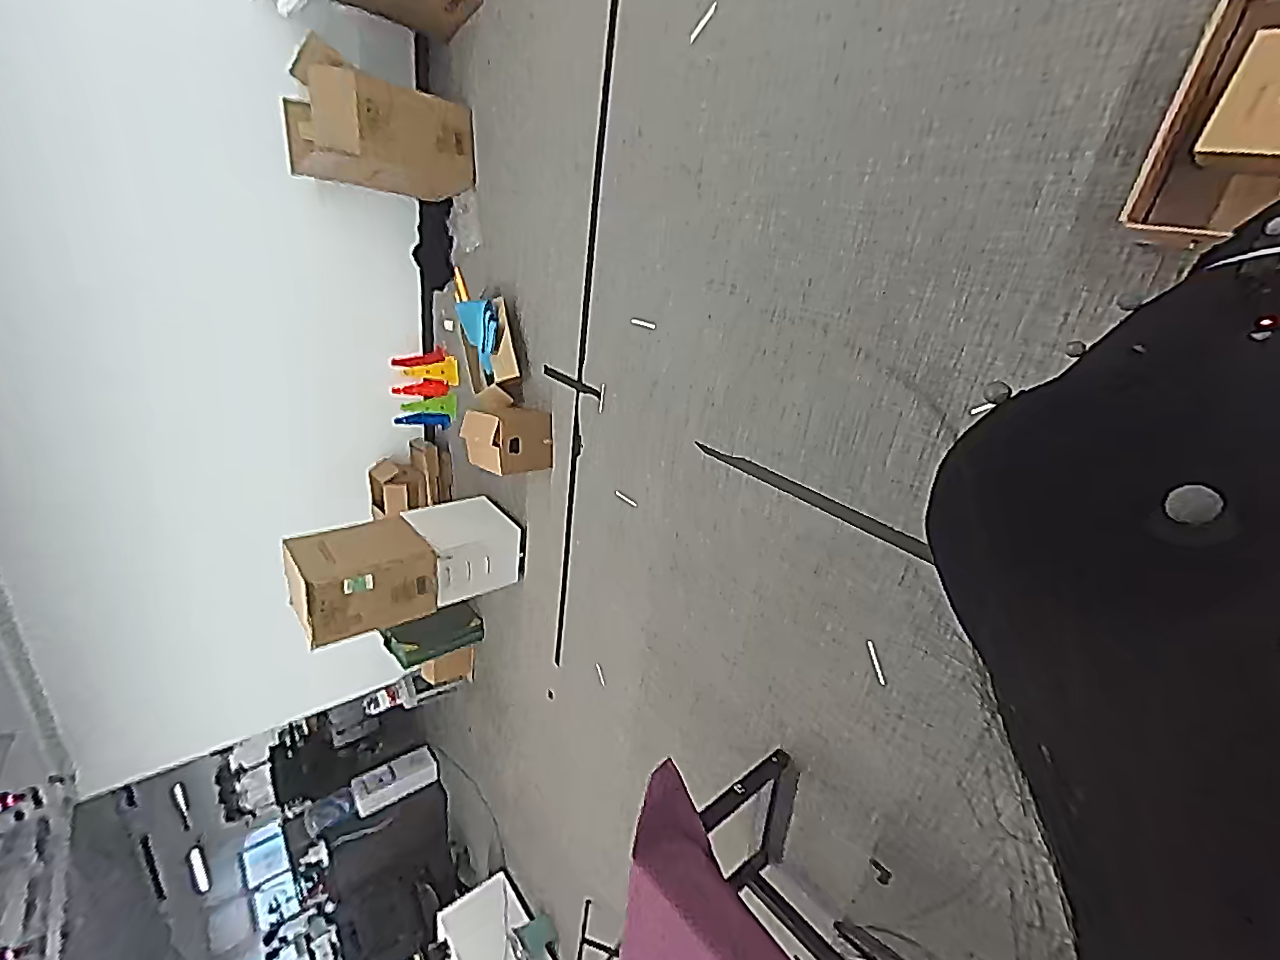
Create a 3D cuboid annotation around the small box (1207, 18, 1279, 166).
[{"bbox_3d":[1.055,-0.600,0.844,0.179,0.176,0.168,35,125,40],"label":"small box"}]
